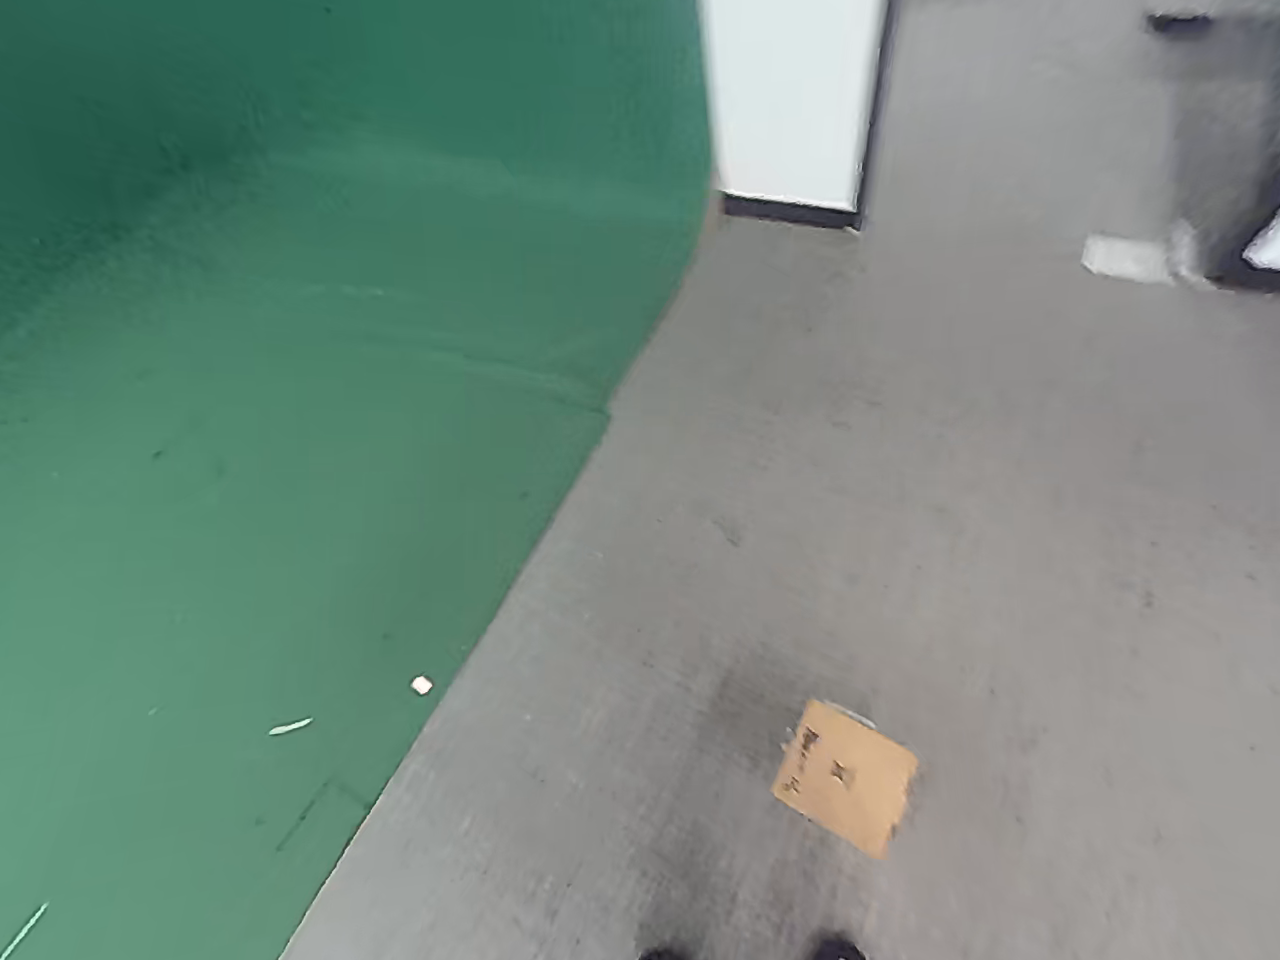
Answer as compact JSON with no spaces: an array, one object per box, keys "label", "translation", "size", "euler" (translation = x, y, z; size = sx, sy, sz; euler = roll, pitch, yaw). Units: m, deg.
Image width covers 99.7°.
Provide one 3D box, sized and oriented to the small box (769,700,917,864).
[{"label":"small box","translation":[0.335,0.500,0.918],"size":[0.179,0.176,0.168],"euler":[26,72,24]}]
